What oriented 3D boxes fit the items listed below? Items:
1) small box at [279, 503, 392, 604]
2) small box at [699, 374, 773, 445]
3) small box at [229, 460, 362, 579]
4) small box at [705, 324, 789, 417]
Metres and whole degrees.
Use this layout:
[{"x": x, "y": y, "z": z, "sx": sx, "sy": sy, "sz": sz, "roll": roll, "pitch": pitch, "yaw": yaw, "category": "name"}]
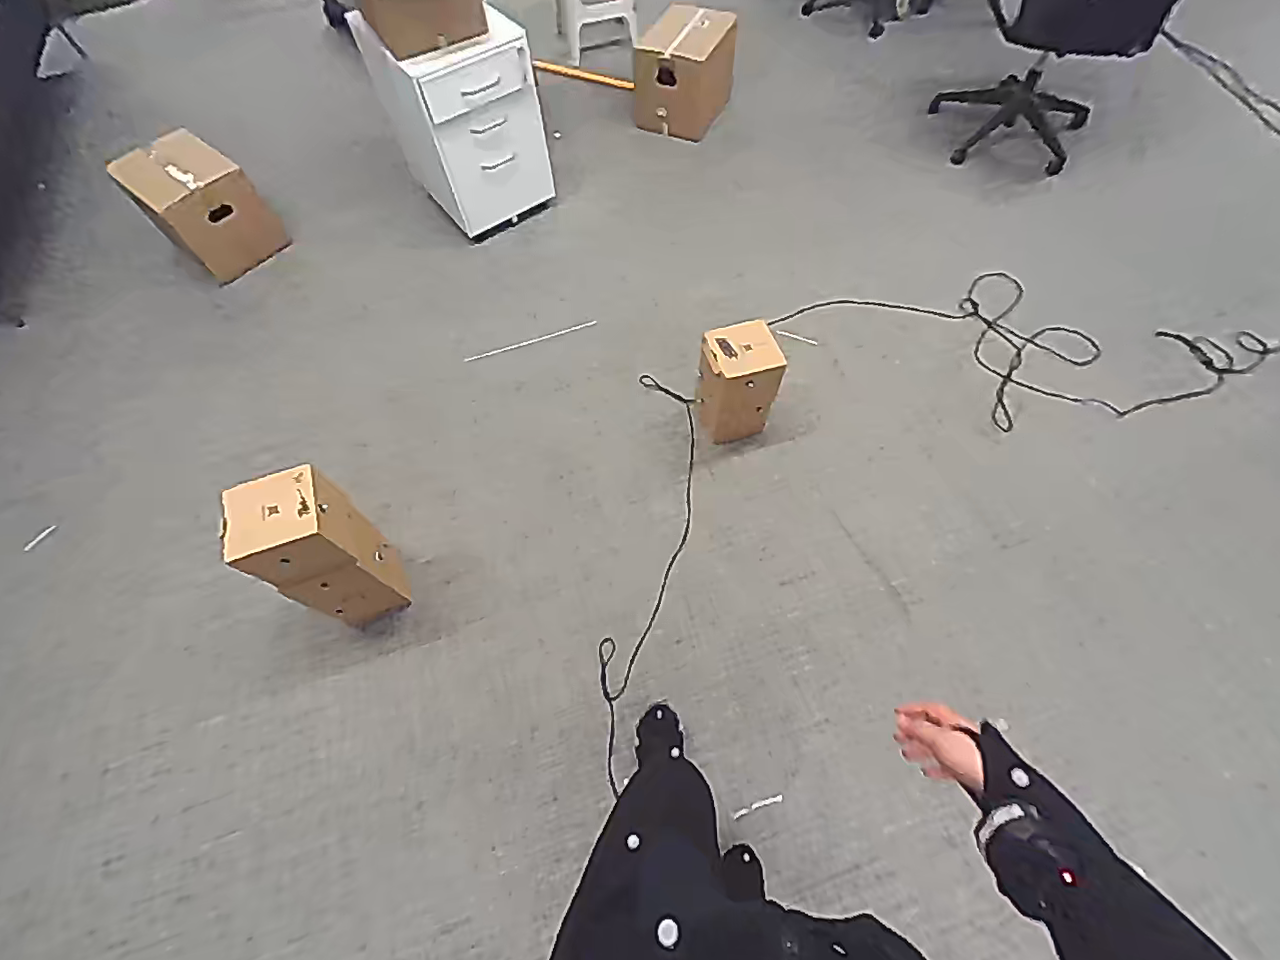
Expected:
[{"x": -0.716, "y": 0.175, "z": 1.277, "sx": 0.179, "sy": 0.176, "sz": 0.168, "roll": -18, "pitch": 63, "yaw": -9, "category": "small box"}, {"x": 0.284, "y": -0.225, "z": 1.634, "sx": 0.179, "sy": 0.176, "sz": 0.168, "roll": -15, "pitch": 62, "yaw": -7, "category": "small box"}, {"x": -0.718, "y": 0.090, "z": 1.137, "sx": 0.179, "sy": 0.176, "sz": 0.168, "roll": -19, "pitch": 63, "yaw": -7, "category": "small box"}, {"x": 0.283, "y": -0.294, "z": 1.484, "sx": 0.179, "sy": 0.176, "sz": 0.168, "roll": -14, "pitch": 63, "yaw": -7, "category": "small box"}]
